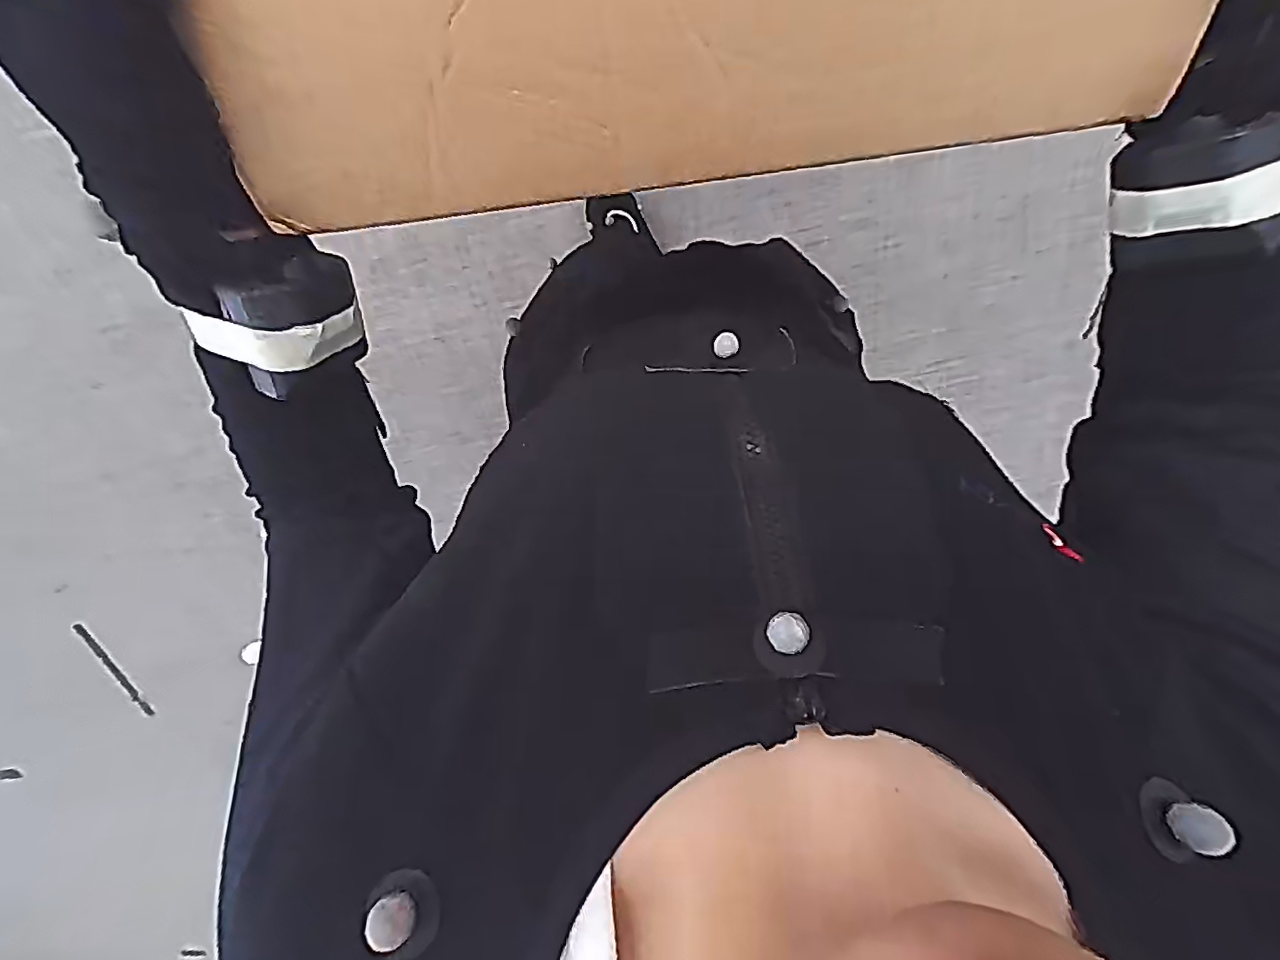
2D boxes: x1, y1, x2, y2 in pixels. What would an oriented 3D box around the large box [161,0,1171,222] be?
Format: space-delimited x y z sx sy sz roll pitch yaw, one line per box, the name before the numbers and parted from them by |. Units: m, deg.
large box | 0.003 -0.360 0.246 0.408 0.320 0.320 -7 136 1
